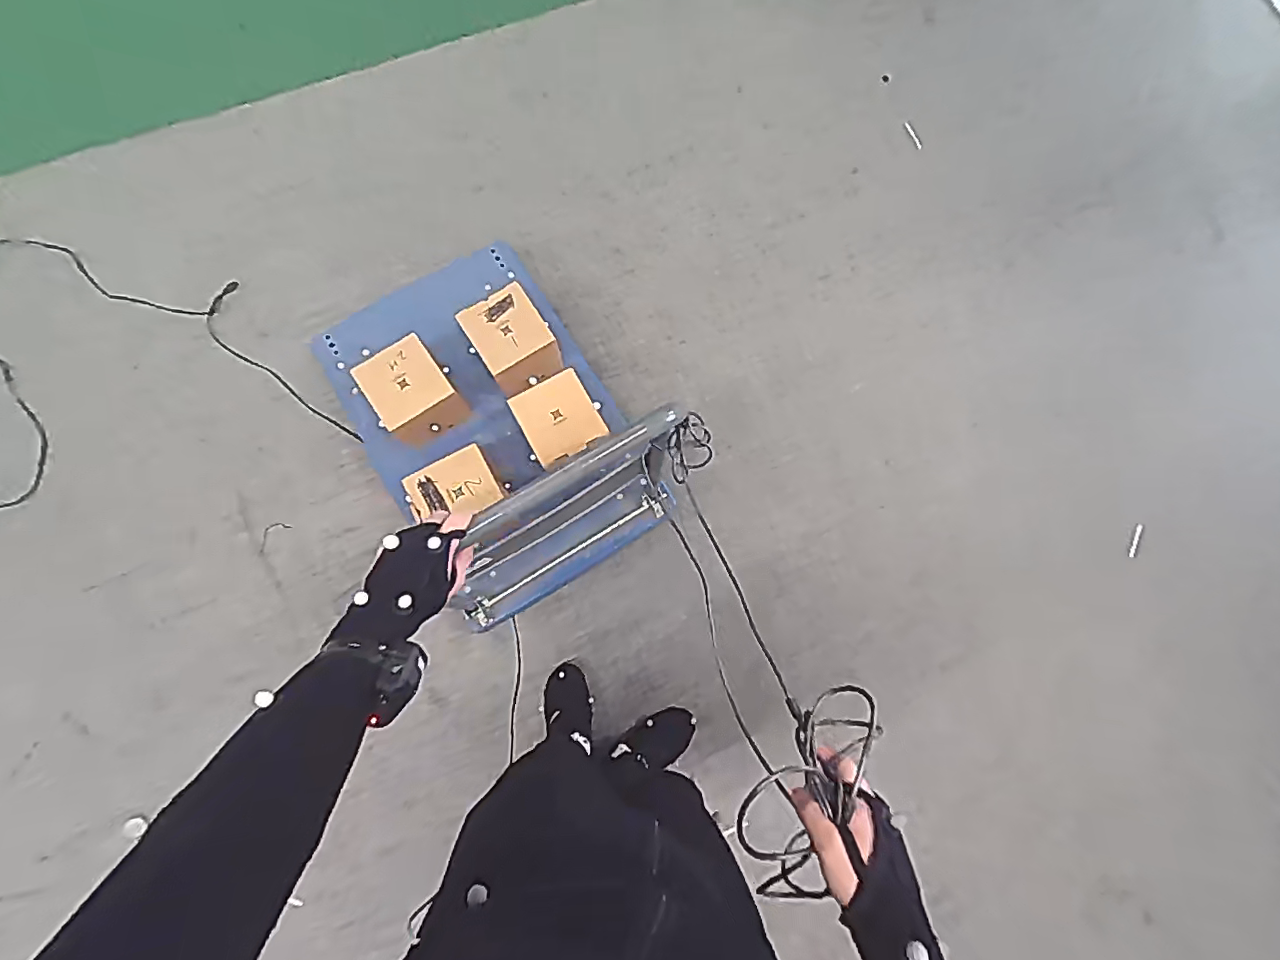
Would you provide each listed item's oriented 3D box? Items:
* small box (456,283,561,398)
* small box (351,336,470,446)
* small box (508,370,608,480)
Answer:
[{"bbox_3d":[-0.309,-0.327,1.302,0.168,0.176,0.179,-33,82,-7],"label":"small box"},{"bbox_3d":[-0.528,-0.197,1.269,0.168,0.176,0.179,-34,81,-9],"label":"small box"},{"bbox_3d":[-0.186,-0.122,1.266,0.168,0.176,0.179,-30,81,-7],"label":"small box"}]
